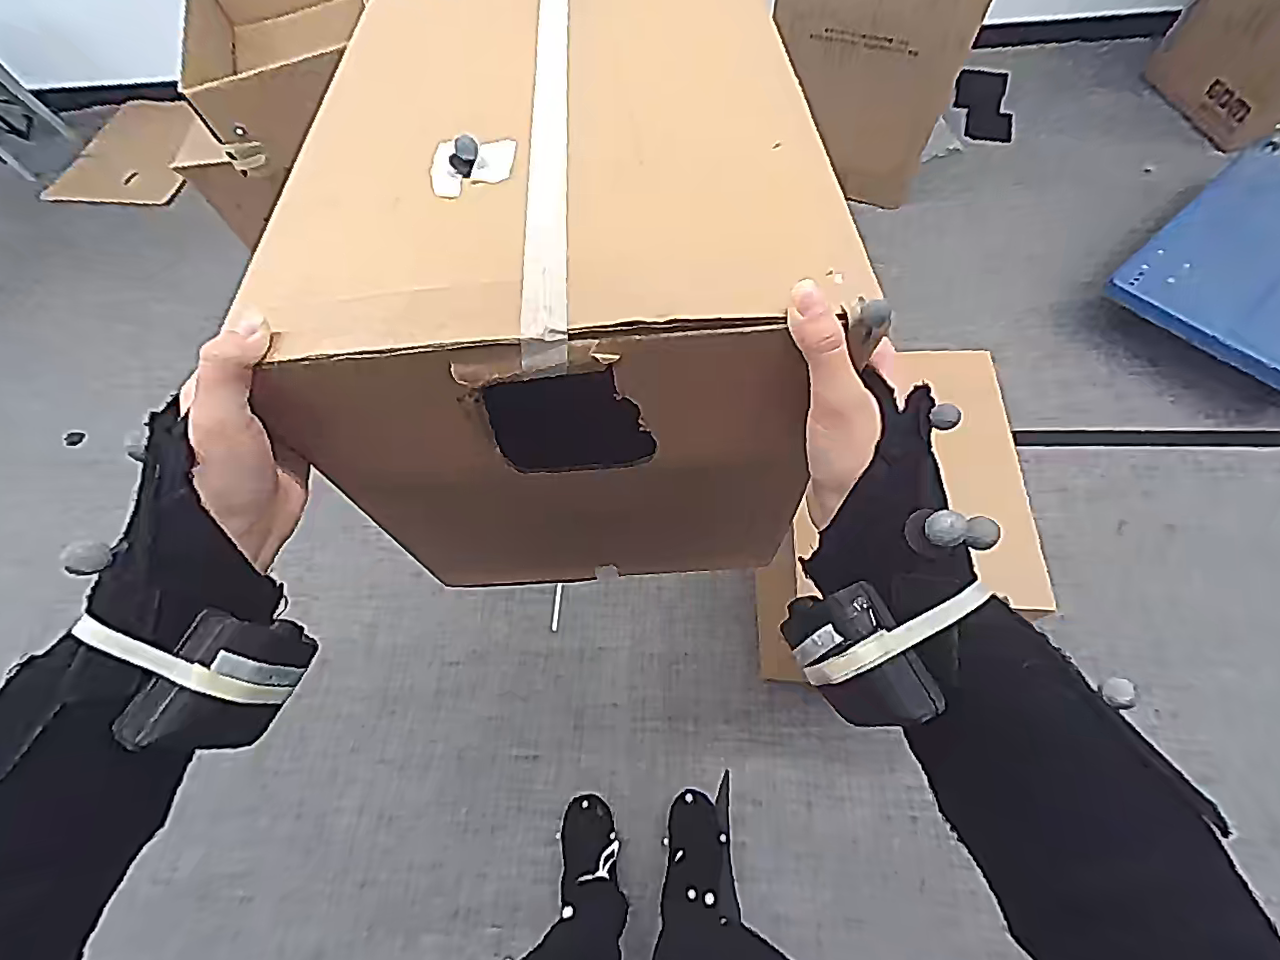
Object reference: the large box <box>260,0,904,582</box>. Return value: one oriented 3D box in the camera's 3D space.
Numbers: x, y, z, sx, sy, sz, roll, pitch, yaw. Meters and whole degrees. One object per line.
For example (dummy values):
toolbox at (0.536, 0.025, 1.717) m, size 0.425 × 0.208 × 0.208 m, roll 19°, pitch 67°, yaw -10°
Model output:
large box at (-0.038, -0.159, 0.477) m, size 0.320 × 0.320 × 0.408 m, roll -5°, pitch 61°, yaw 1°
